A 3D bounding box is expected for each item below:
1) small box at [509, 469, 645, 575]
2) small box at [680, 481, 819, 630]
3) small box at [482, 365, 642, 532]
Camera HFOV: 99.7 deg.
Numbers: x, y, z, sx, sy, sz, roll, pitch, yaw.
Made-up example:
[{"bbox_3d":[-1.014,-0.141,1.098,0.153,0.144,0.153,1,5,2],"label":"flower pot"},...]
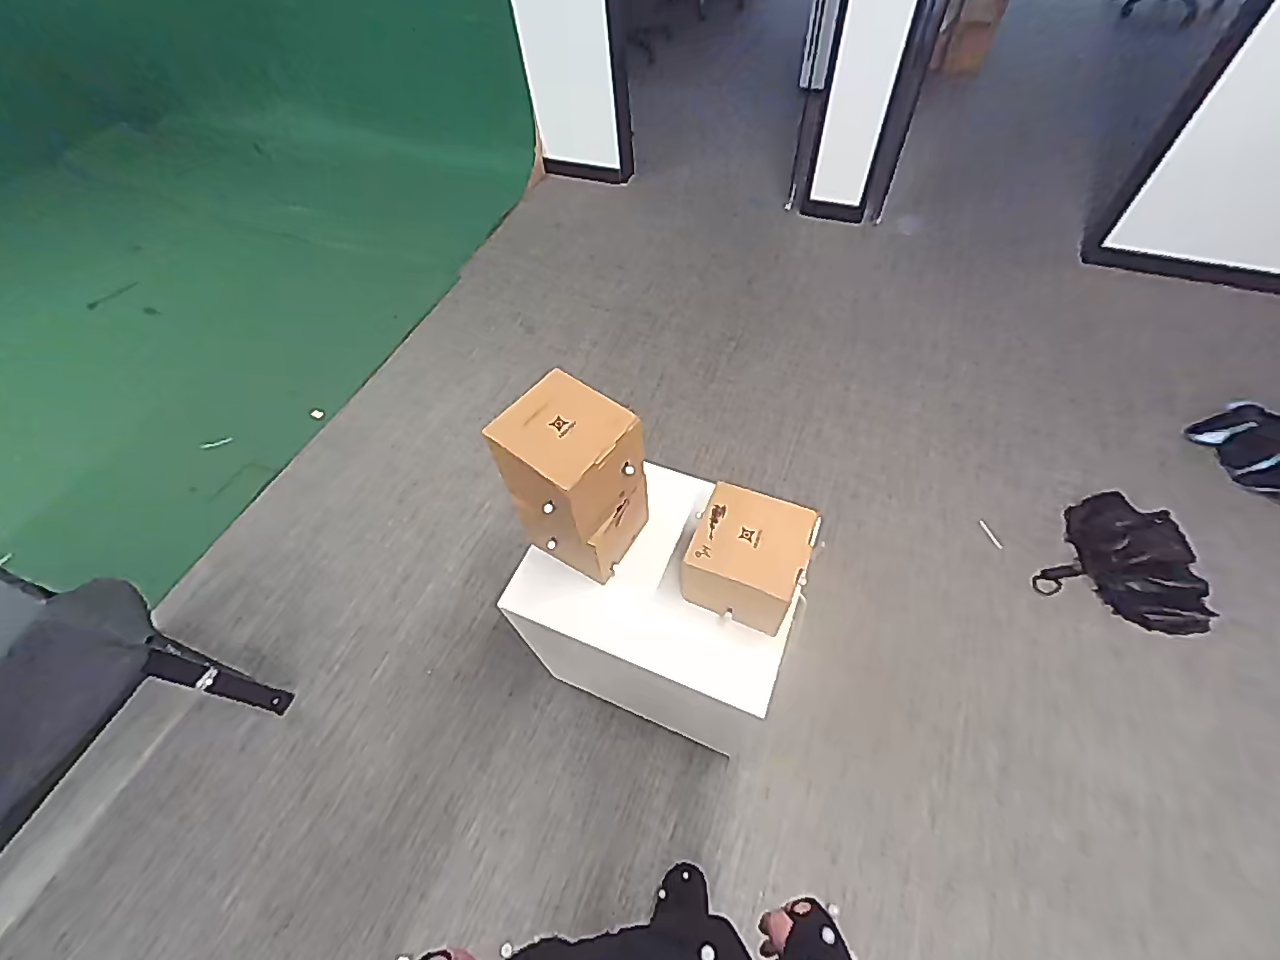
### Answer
[{"bbox_3d":[-0.103,0.051,0.984,0.179,0.176,0.168,26,61,18],"label":"small box"},{"bbox_3d":[0.178,0.135,0.919,0.179,0.176,0.168,20,60,15],"label":"small box"},{"bbox_3d":[-0.111,-0.041,0.852,0.179,0.176,0.168,32,61,21],"label":"small box"}]
